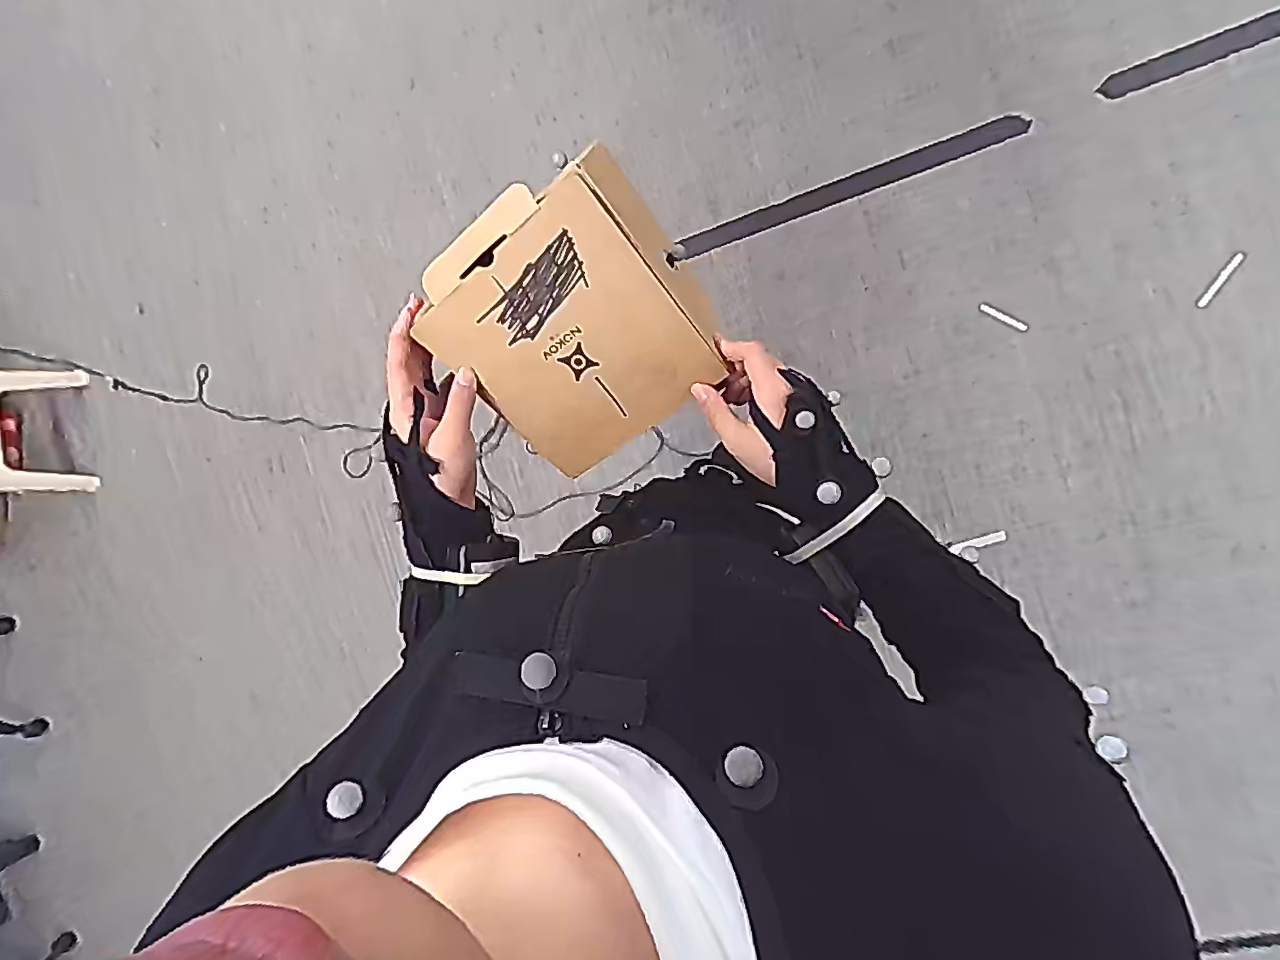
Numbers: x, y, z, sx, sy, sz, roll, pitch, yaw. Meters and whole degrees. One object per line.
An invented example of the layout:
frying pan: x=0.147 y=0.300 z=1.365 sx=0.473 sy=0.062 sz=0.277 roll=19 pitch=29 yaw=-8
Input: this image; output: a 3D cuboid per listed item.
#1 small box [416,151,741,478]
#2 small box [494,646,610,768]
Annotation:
small box: x=-0.040 y=-0.141 z=0.447 sx=0.168 sy=0.176 sz=0.179 roll=-31 pitch=120 yaw=23
small box: x=-0.187 y=0.488 z=1.195 sx=0.168 sy=0.176 sz=0.179 roll=-25 pitch=89 yaw=13
